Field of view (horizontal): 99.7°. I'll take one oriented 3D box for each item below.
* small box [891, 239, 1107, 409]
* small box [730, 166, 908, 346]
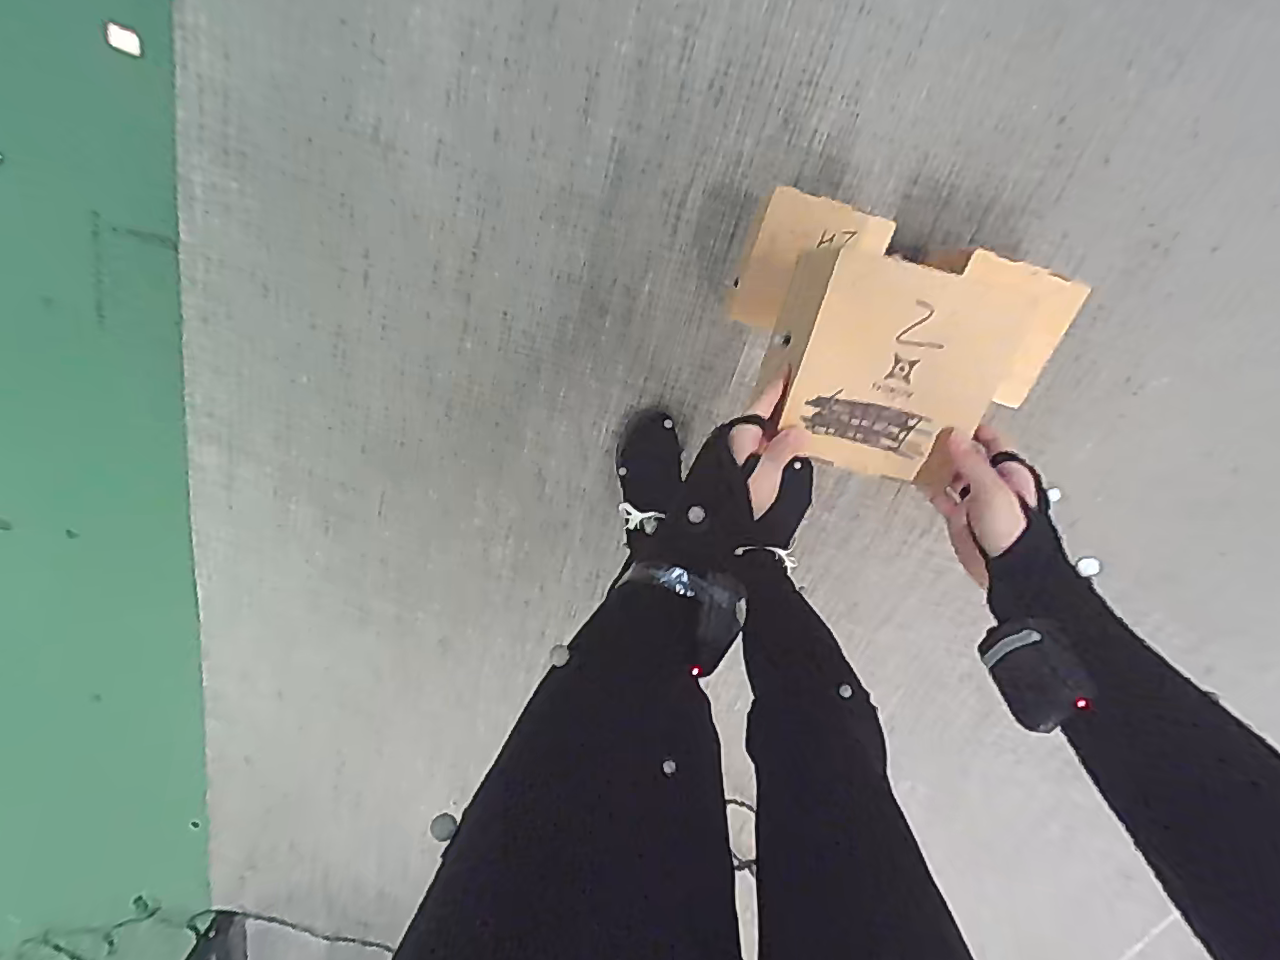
[{"bbox_3d":[0.488,-0.229,0.776,0.168,0.176,0.179,19,114,-2],"label":"small box"},{"bbox_3d":[0.234,-0.312,0.763,0.168,0.176,0.179,19,114,-3],"label":"small box"}]
